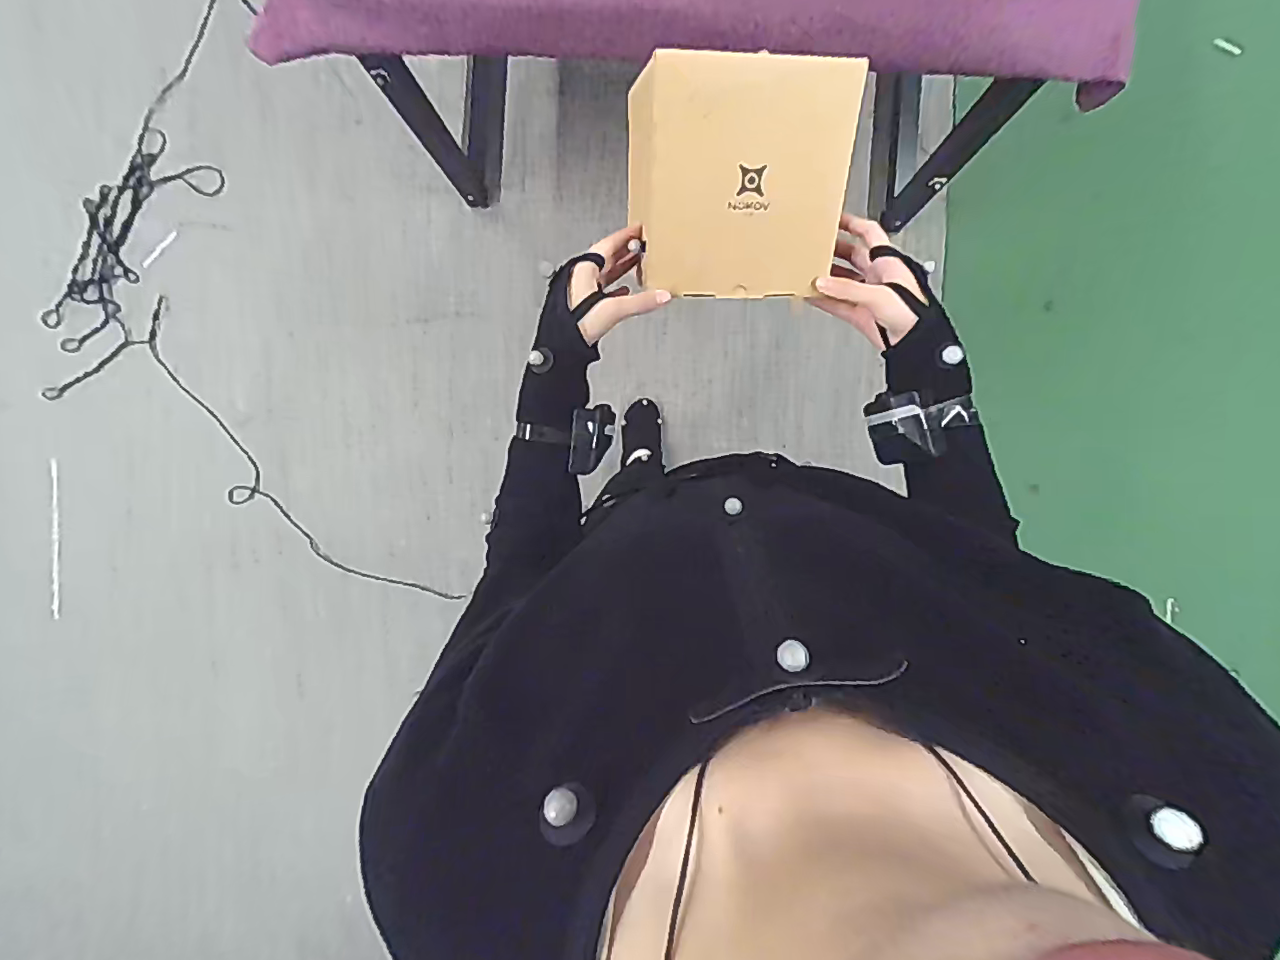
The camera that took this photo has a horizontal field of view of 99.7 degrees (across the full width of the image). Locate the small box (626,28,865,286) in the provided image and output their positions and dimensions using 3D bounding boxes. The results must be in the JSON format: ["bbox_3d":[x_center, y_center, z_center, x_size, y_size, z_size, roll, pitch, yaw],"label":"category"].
[{"bbox_3d":[0.077,-0.285,0.503,0.168,0.176,0.179,-2,119,-7],"label":"small box"}]
